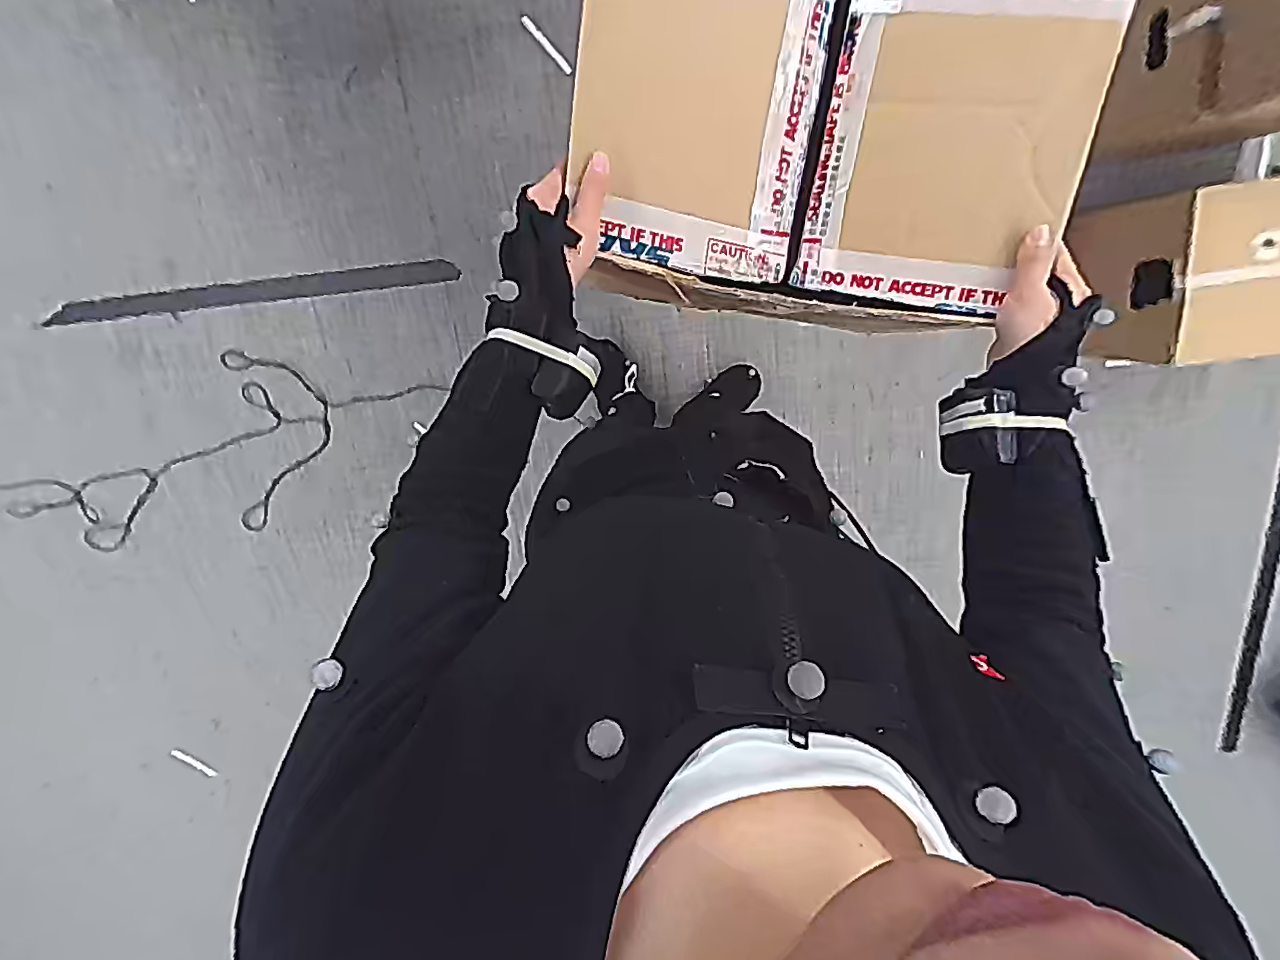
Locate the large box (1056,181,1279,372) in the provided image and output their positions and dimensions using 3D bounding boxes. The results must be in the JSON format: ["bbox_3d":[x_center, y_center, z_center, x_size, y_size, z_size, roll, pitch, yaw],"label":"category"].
[{"bbox_3d":[1.182,-0.420,1.118,0.408,0.320,0.320,-7,105,3],"label":"large box"}]
